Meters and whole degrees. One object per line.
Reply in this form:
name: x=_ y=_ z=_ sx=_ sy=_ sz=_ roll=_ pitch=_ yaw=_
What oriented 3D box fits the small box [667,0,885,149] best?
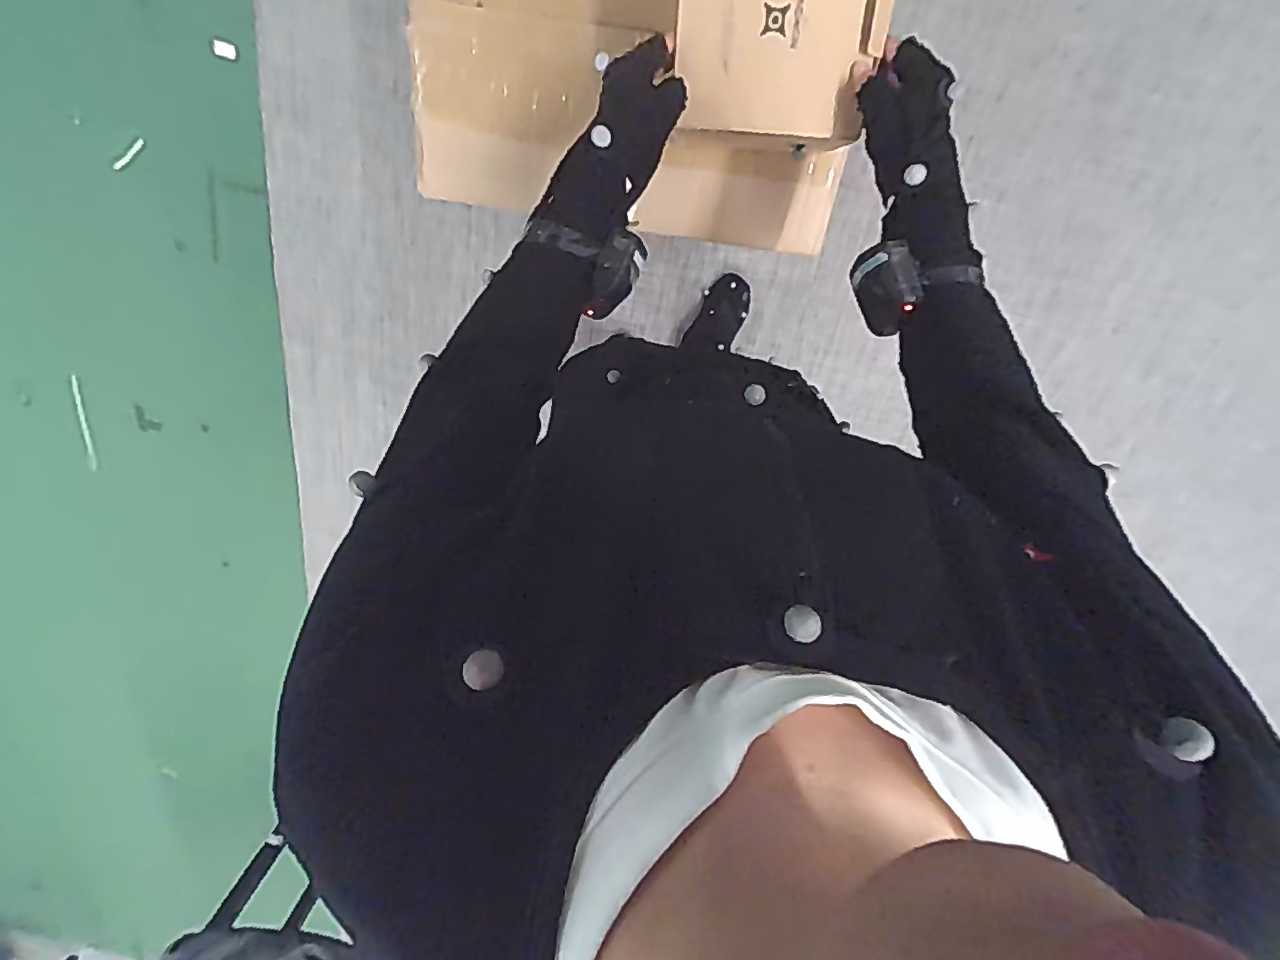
small box: x=0.125 y=-0.429 z=0.528 sx=0.179 sy=0.176 sz=0.168 roll=6 pitch=117 yaw=5
